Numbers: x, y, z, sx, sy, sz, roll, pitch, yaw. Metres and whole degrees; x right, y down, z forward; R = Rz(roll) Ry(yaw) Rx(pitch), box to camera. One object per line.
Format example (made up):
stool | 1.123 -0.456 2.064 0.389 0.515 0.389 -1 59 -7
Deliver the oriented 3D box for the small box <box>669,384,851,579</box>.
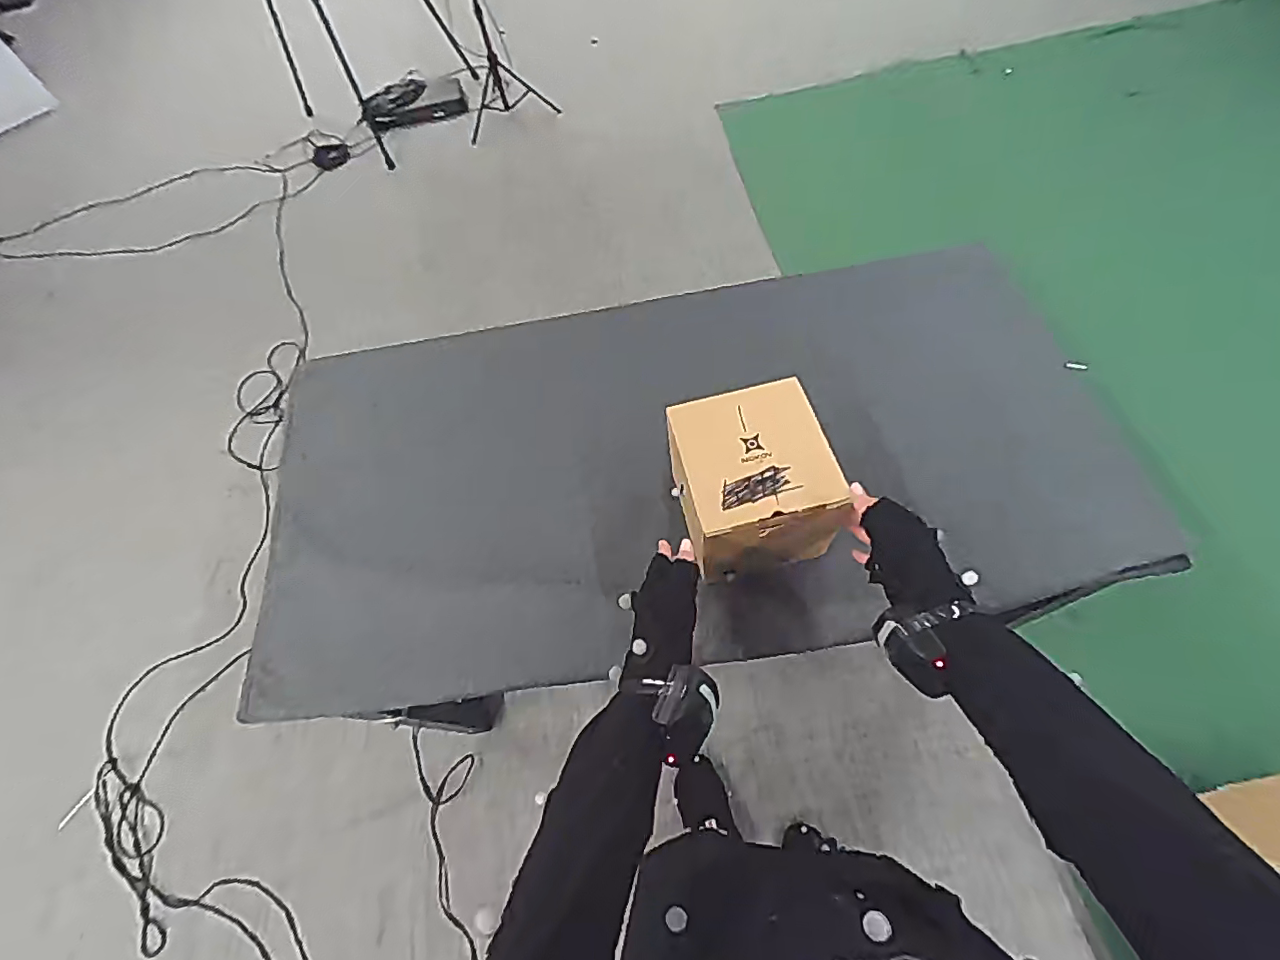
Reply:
small box | 0.139 0.012 0.681 0.168 0.176 0.179 -13 59 -1
